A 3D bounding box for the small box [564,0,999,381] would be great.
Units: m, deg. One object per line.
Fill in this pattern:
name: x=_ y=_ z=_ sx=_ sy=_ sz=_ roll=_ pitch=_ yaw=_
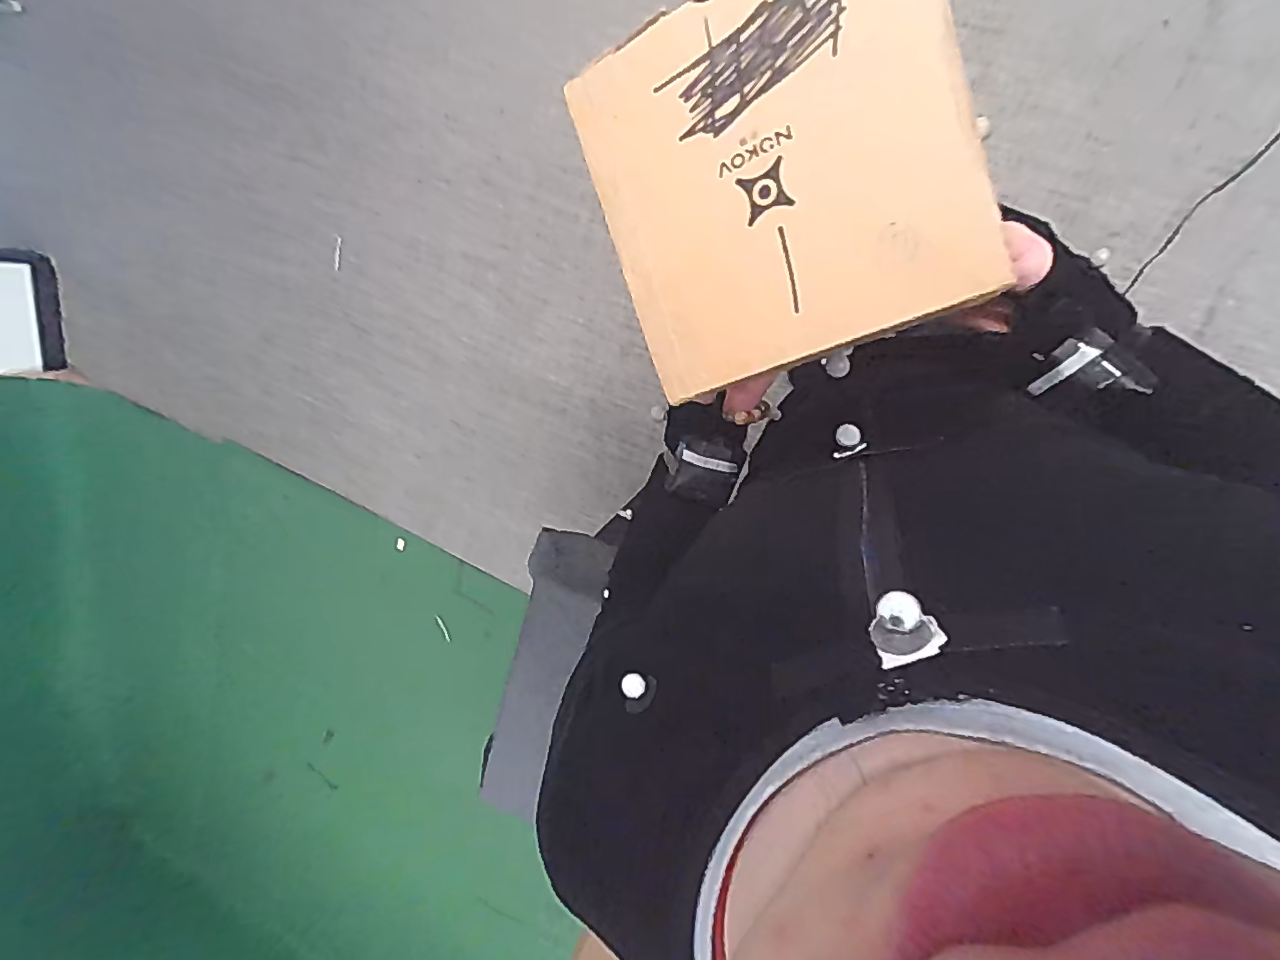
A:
small box: x=0.088 y=-0.170 z=0.321 sx=0.168 sy=0.176 sz=0.179 roll=-15 pitch=97 yaw=30
